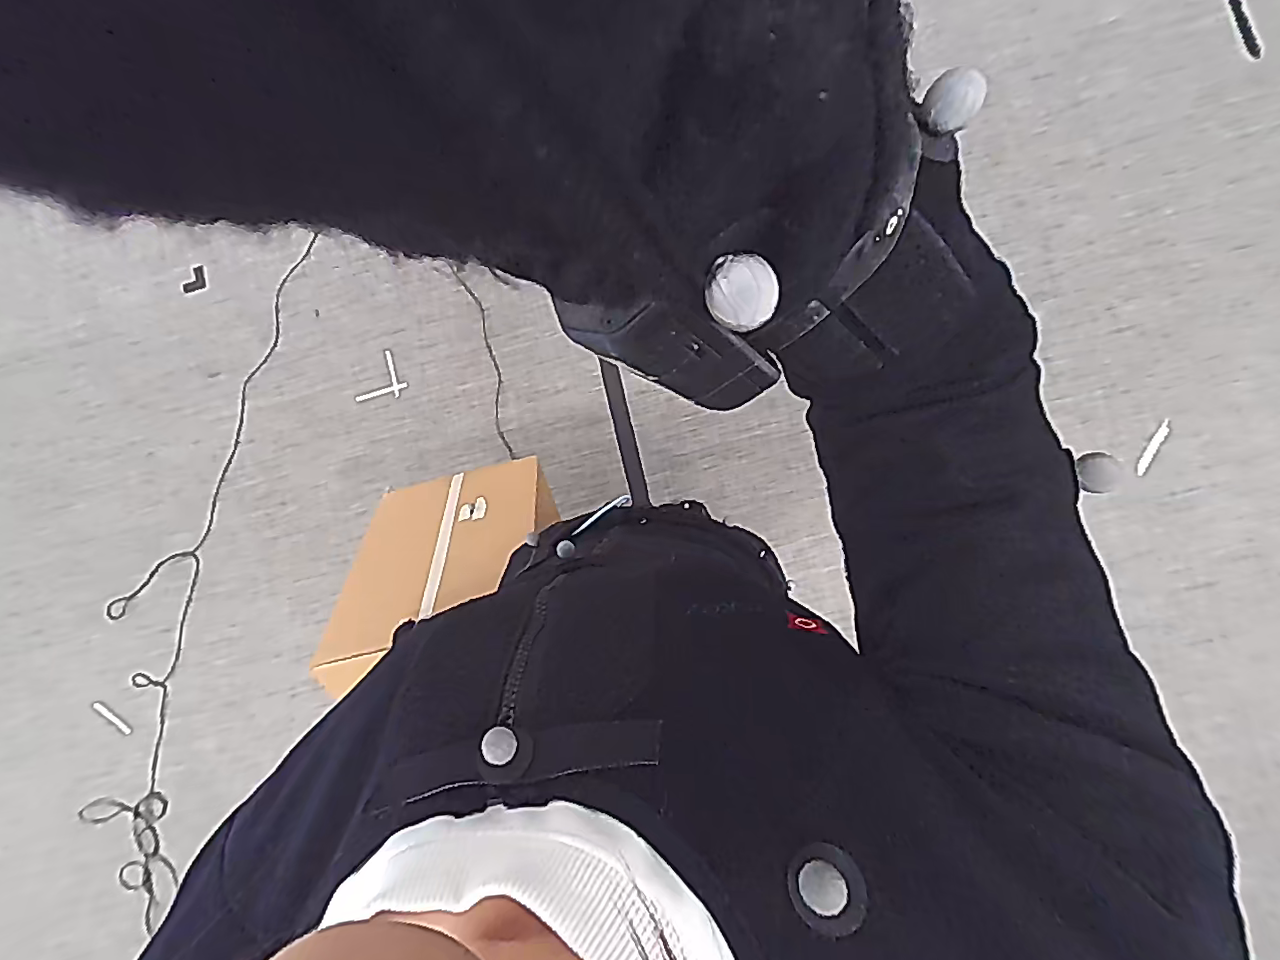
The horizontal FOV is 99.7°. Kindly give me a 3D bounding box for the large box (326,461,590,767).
[{"bbox_3d":[-0.287,0.228,0.989,0.320,0.408,0.320,-13,125,0],"label":"large box"}]
